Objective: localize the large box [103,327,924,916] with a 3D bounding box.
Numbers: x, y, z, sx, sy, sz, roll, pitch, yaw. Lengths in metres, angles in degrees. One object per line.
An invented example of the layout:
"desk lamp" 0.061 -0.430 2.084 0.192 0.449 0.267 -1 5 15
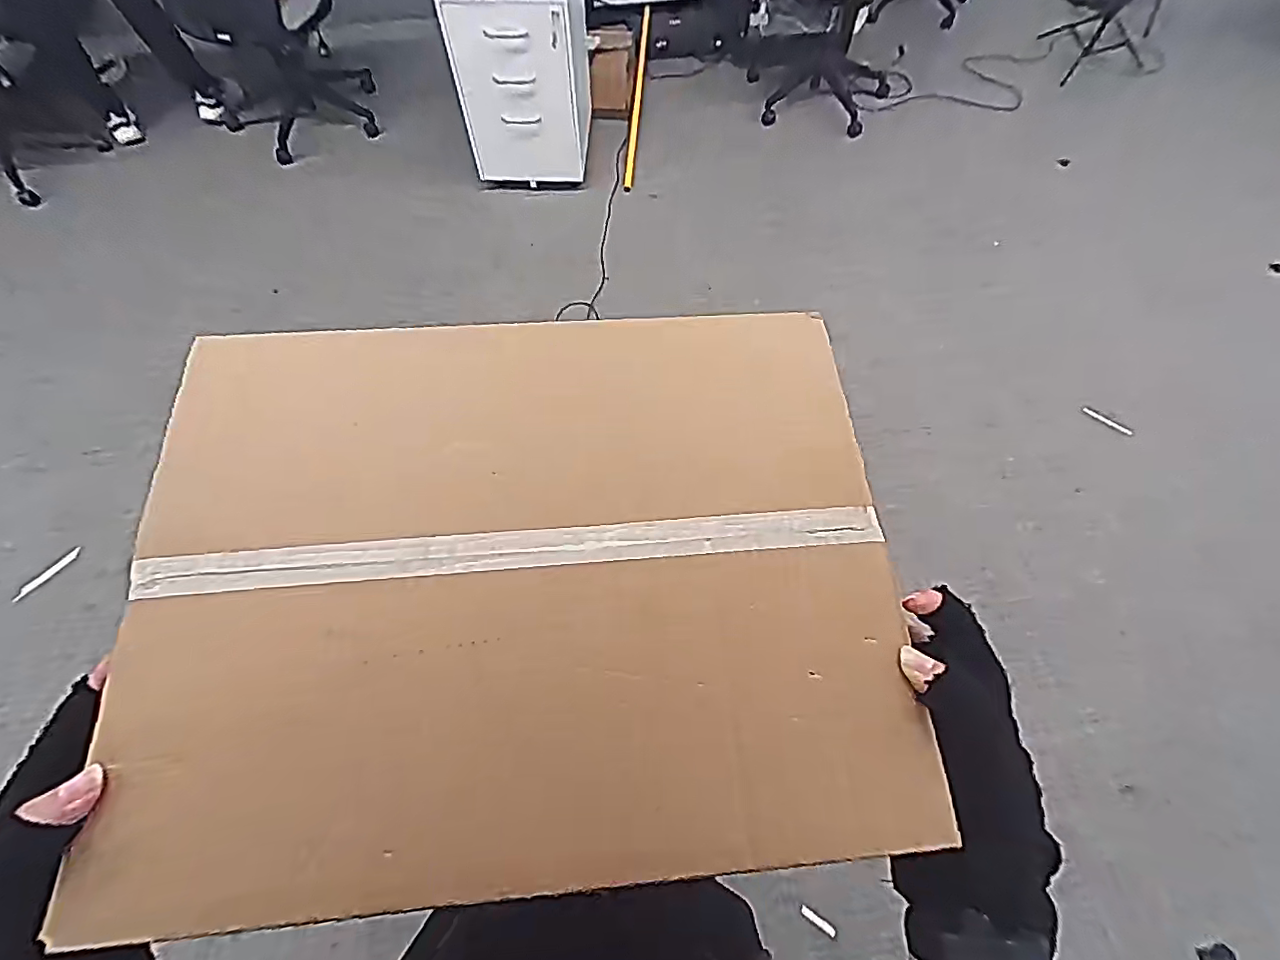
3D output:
"large box" -0.071 0.101 0.454 0.408 0.320 0.320 -4 68 -4
